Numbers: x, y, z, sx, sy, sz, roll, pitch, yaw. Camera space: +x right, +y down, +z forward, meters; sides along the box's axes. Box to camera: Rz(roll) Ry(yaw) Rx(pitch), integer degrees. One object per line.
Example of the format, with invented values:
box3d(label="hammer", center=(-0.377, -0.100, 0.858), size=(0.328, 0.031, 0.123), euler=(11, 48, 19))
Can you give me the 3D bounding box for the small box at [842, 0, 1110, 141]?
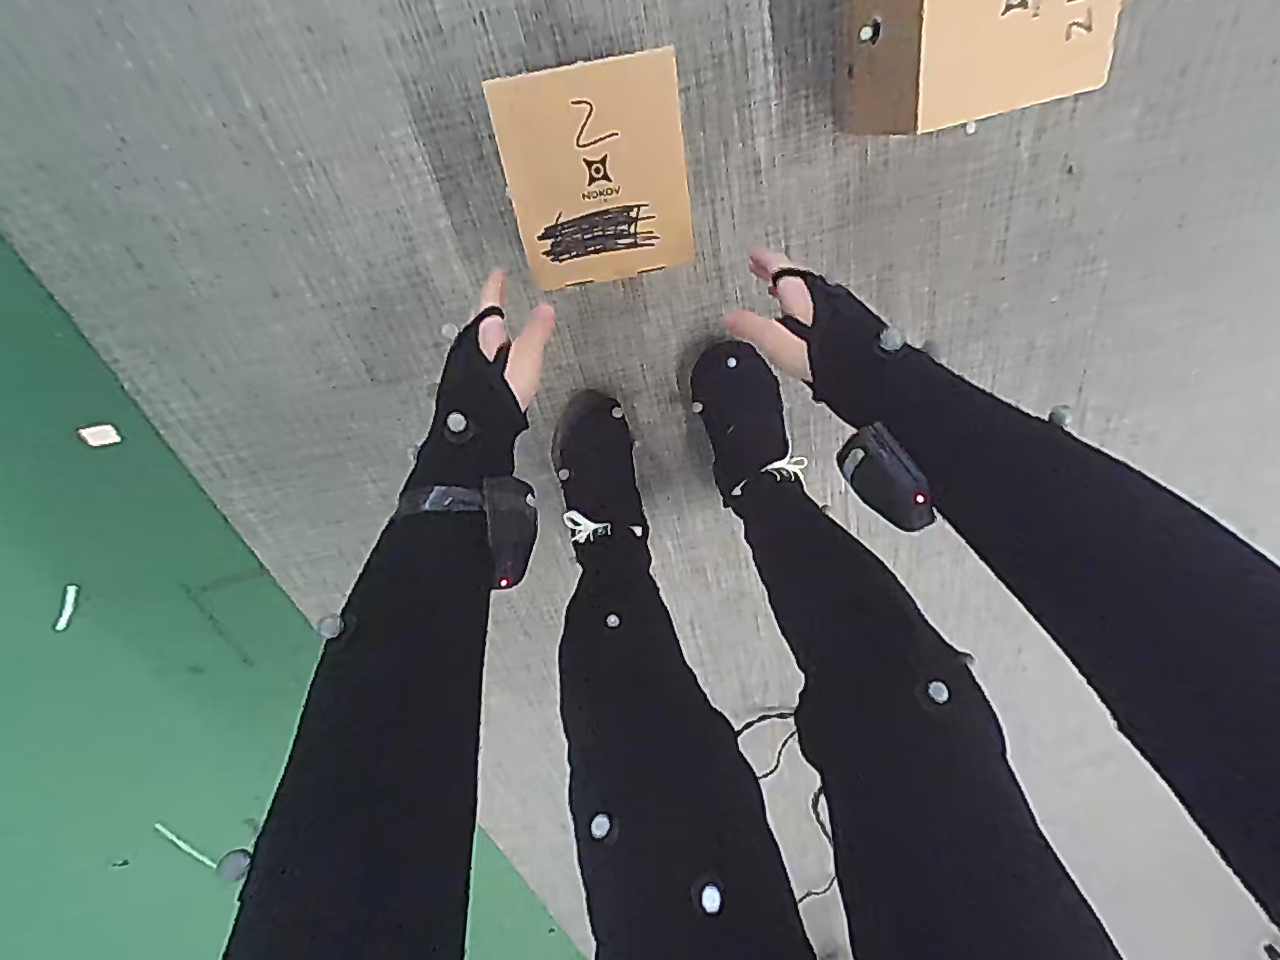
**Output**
box3d(label="small box", center=(0.312, -0.446, 0.531), size=(0.179, 0.176, 0.168), euler=(-13, 122, 2))
